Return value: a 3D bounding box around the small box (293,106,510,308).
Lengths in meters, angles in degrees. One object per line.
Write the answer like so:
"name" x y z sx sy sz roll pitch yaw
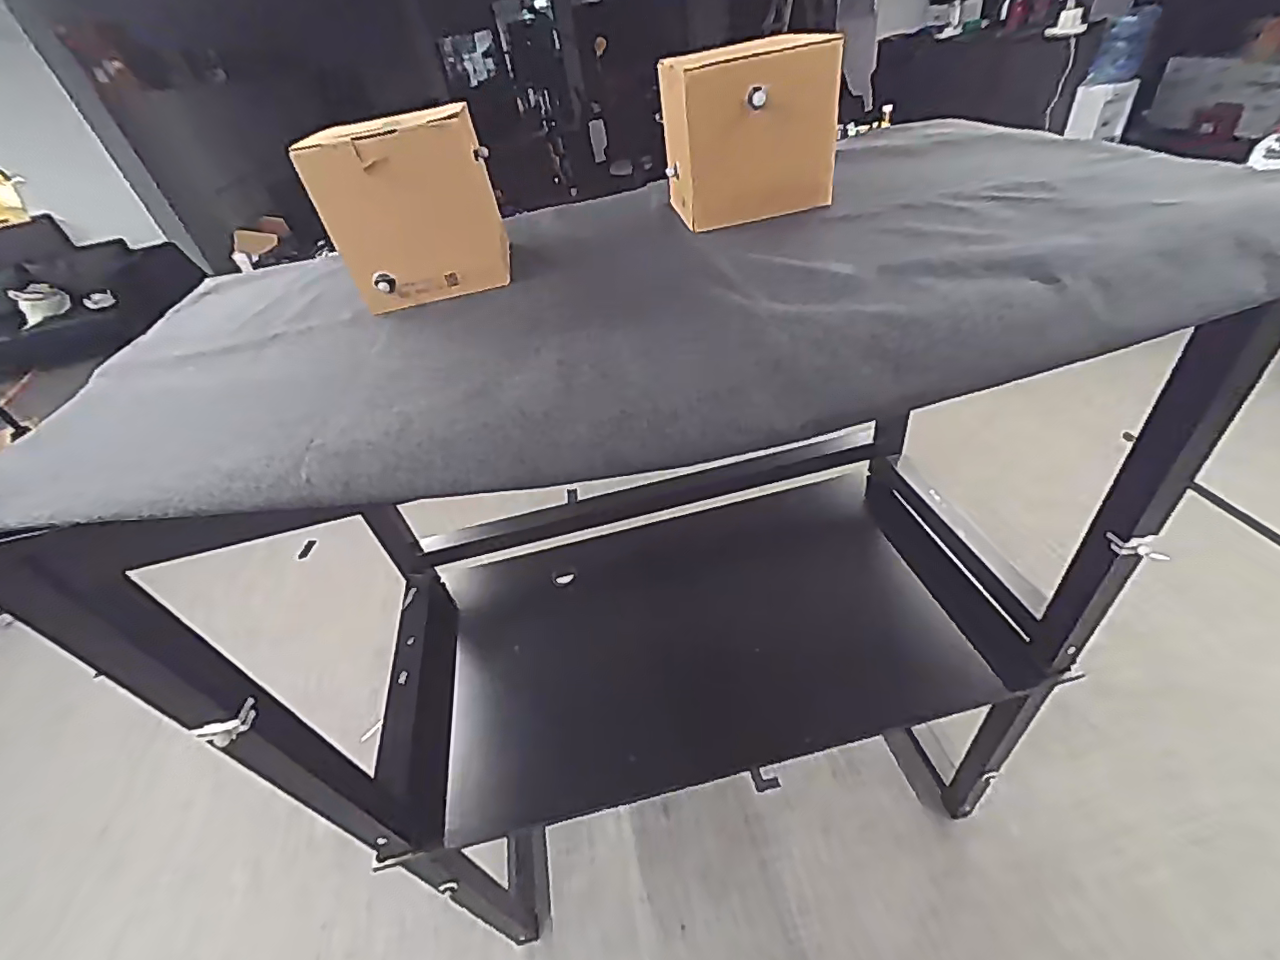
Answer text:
"small box" -0.257 -0.316 0.635 0.168 0.176 0.179 -14 39 -3

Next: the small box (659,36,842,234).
"small box" 0.130 -0.429 0.675 0.179 0.176 0.168 -12 40 0
